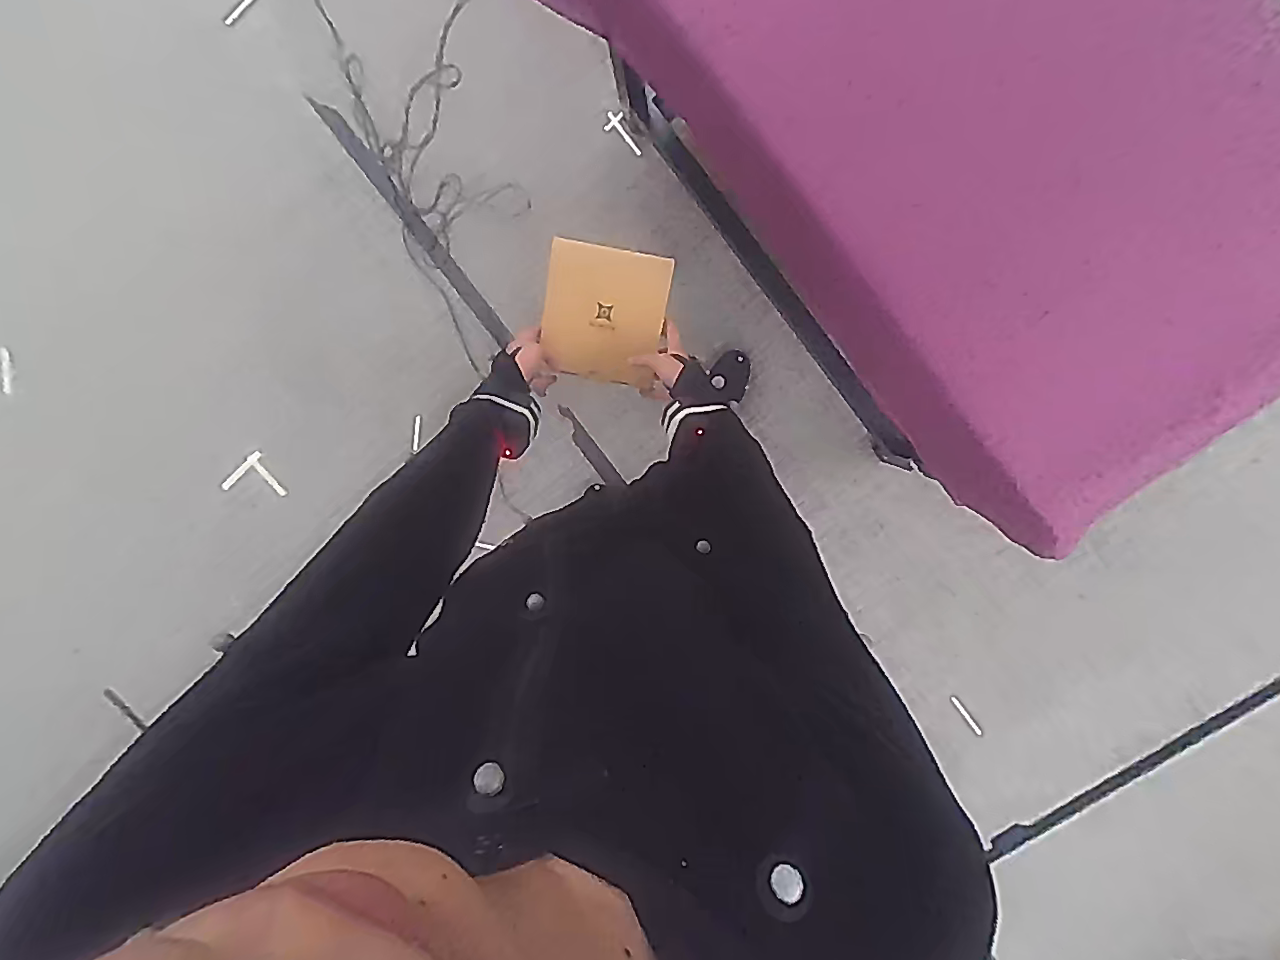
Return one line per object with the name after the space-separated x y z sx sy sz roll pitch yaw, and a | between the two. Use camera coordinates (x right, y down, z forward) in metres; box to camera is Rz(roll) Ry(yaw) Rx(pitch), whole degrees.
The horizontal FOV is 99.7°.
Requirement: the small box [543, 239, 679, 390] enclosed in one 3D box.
-0.042 -0.246 0.816 0.168 0.176 0.179 10 107 -1 | small box
